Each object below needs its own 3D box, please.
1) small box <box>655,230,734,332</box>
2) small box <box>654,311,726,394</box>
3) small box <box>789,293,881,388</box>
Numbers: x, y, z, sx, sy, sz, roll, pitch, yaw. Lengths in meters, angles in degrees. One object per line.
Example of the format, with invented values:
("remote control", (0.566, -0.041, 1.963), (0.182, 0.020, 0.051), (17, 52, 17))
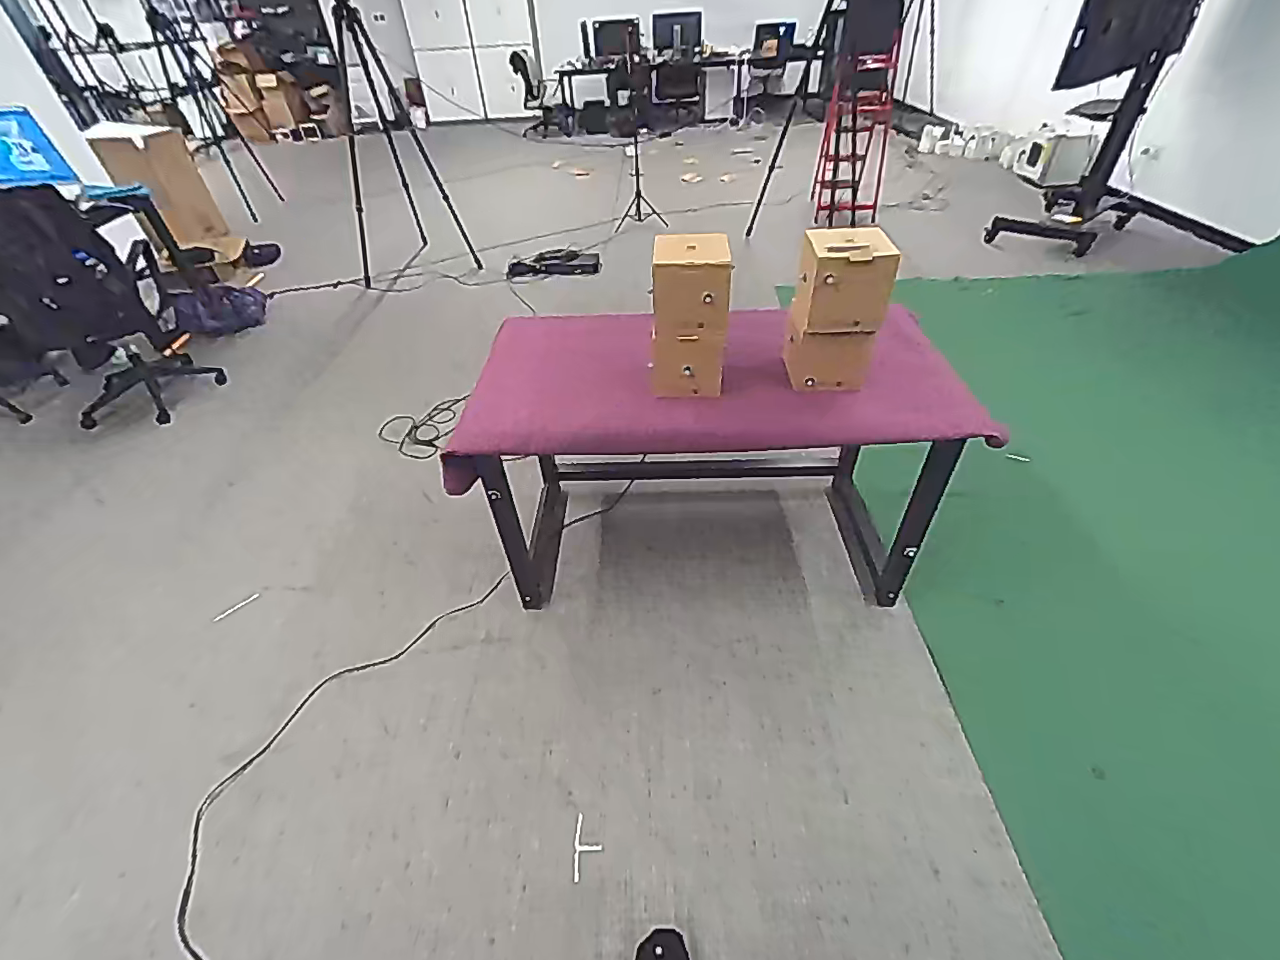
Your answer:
("small box", (0.123, -0.446, 1.220), (0.168, 0.176, 0.179), (1, 43, 4))
("small box", (0.125, -0.325, 1.330), (0.168, 0.176, 0.179), (1, 43, 5))
("small box", (0.466, -0.339, 1.317), (0.168, 0.176, 0.179), (3, 43, 5))
